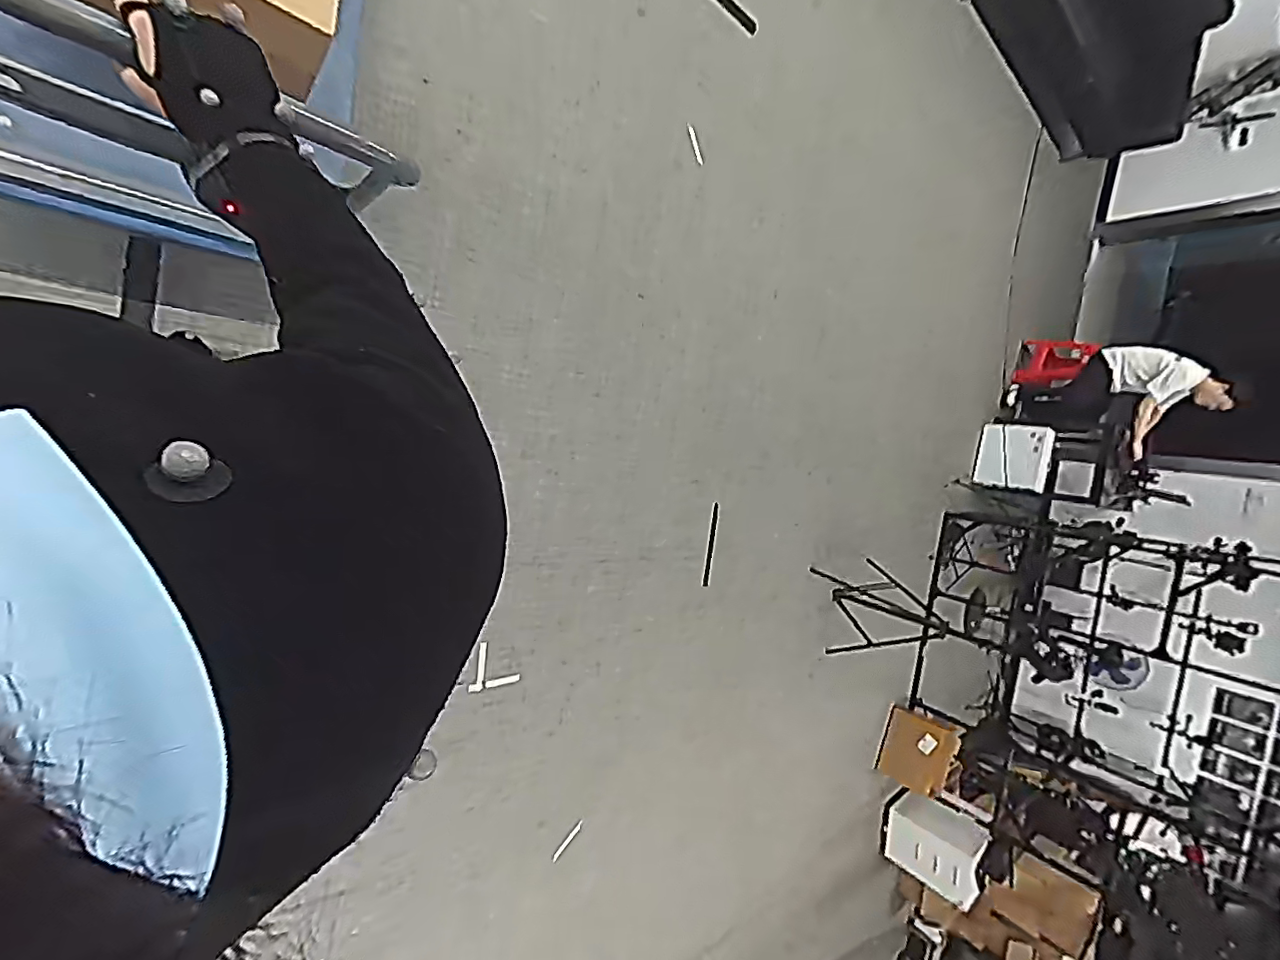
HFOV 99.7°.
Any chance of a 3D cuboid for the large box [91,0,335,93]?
[{"bbox_3d":[-0.685,-0.877,0.792,0.408,0.320,0.320,7,93,-40],"label":"large box"}]
